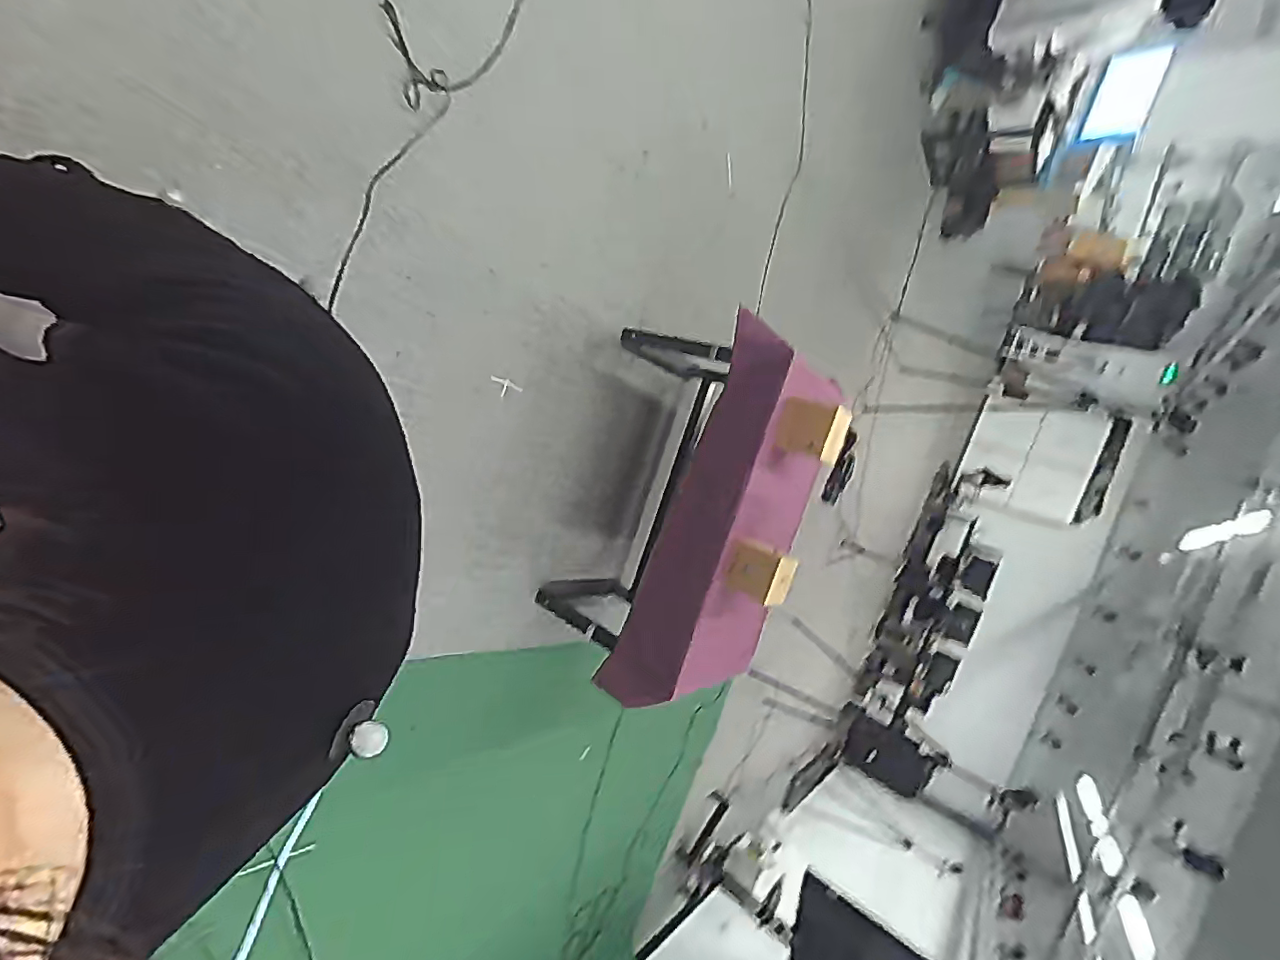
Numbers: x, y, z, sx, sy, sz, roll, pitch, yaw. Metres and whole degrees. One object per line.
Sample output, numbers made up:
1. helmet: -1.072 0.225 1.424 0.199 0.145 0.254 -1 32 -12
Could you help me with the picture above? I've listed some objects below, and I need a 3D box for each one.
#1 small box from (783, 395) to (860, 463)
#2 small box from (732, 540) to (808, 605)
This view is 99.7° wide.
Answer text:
1. small box: 0.593 -0.170 1.775 0.168 0.176 0.179 8 102 -53
2. small box: 0.433 0.307 1.809 0.179 0.176 0.168 14 96 -54
